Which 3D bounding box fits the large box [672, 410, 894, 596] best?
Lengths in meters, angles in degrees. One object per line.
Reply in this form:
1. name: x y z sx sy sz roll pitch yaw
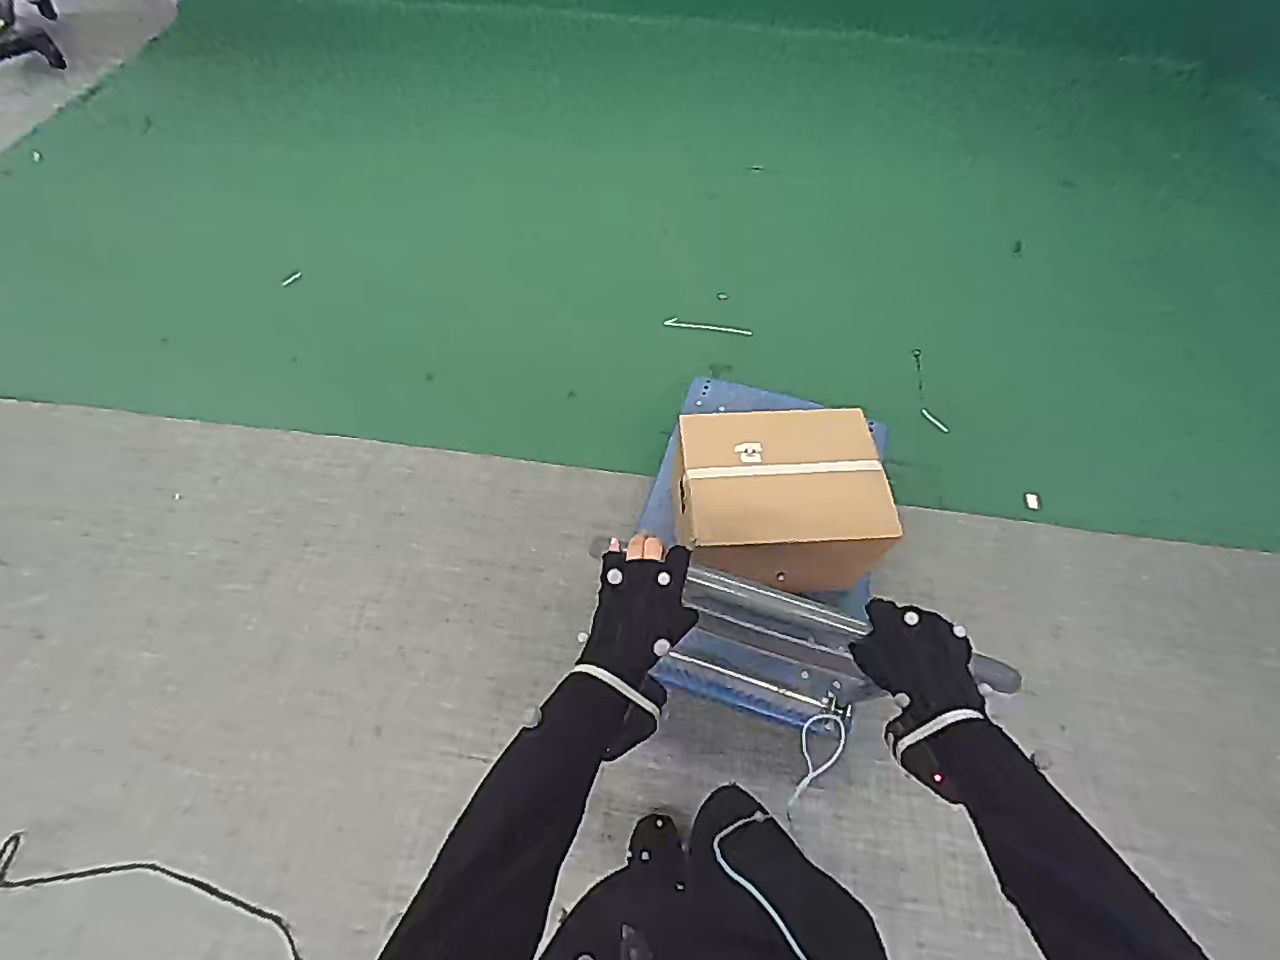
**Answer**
1. large box: 0.291 0.064 1.242 0.408 0.320 0.320 -3 59 -1
